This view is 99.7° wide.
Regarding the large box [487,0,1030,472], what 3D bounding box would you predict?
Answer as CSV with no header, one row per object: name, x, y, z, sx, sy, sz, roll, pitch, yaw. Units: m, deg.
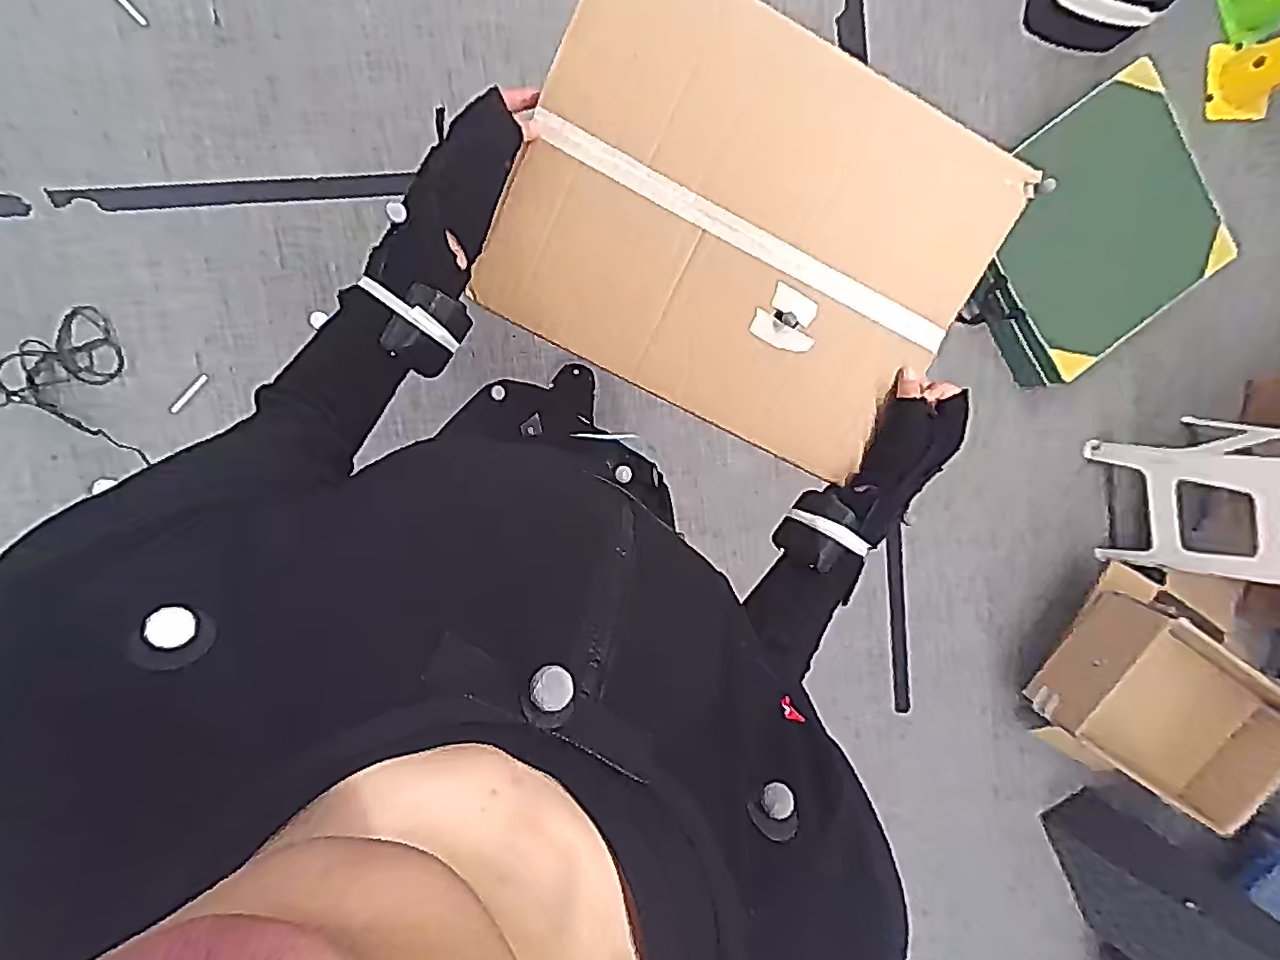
large box,0.097,-0.258,0.626,0.408,0.320,0.320,26,104,-8
